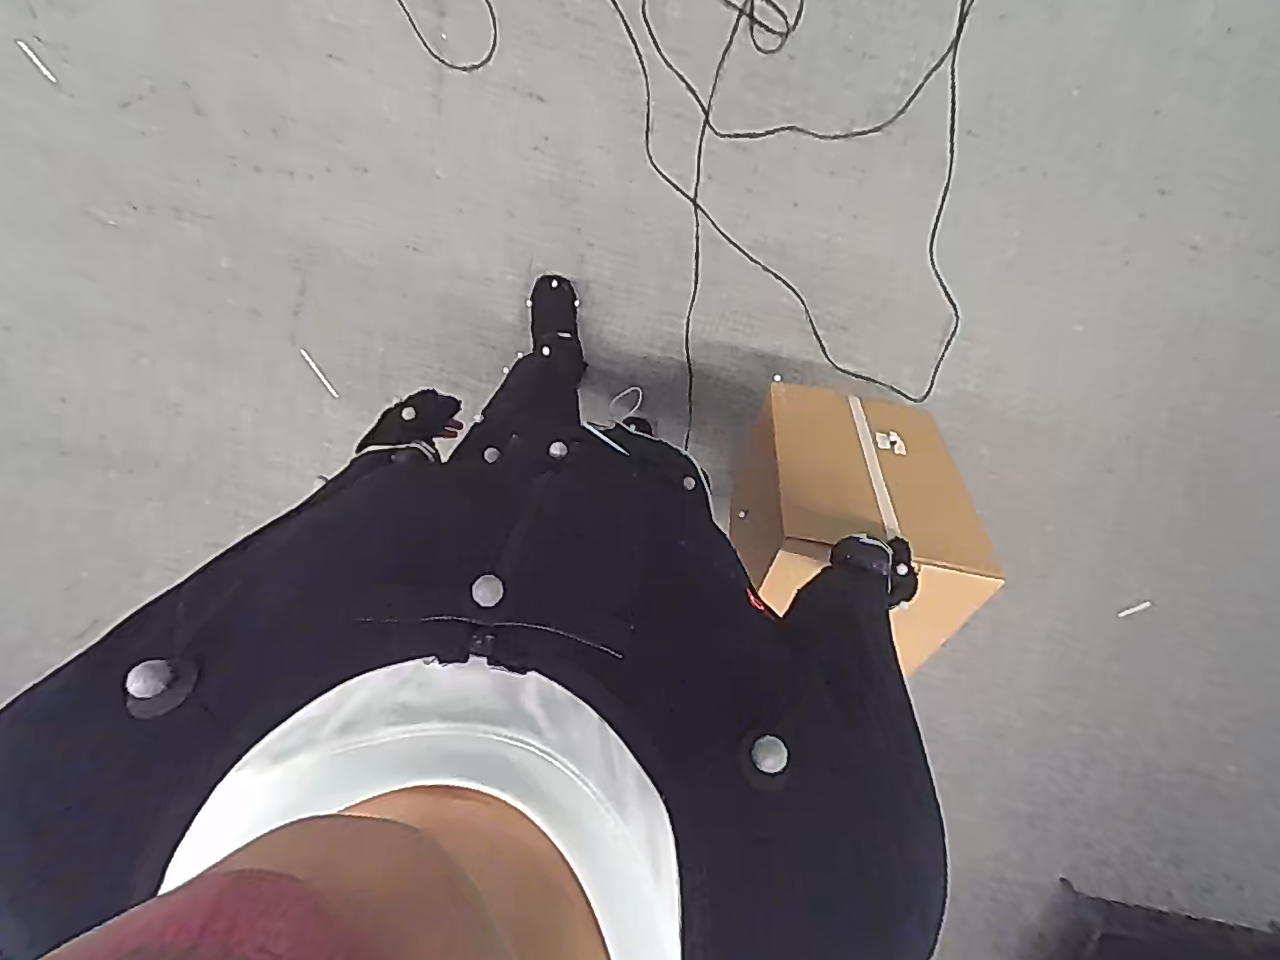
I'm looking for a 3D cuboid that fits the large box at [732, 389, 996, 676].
[{"bbox_3d":[0.354,0.089,1.000,0.320,0.408,0.320,11,132,0],"label":"large box"}]
